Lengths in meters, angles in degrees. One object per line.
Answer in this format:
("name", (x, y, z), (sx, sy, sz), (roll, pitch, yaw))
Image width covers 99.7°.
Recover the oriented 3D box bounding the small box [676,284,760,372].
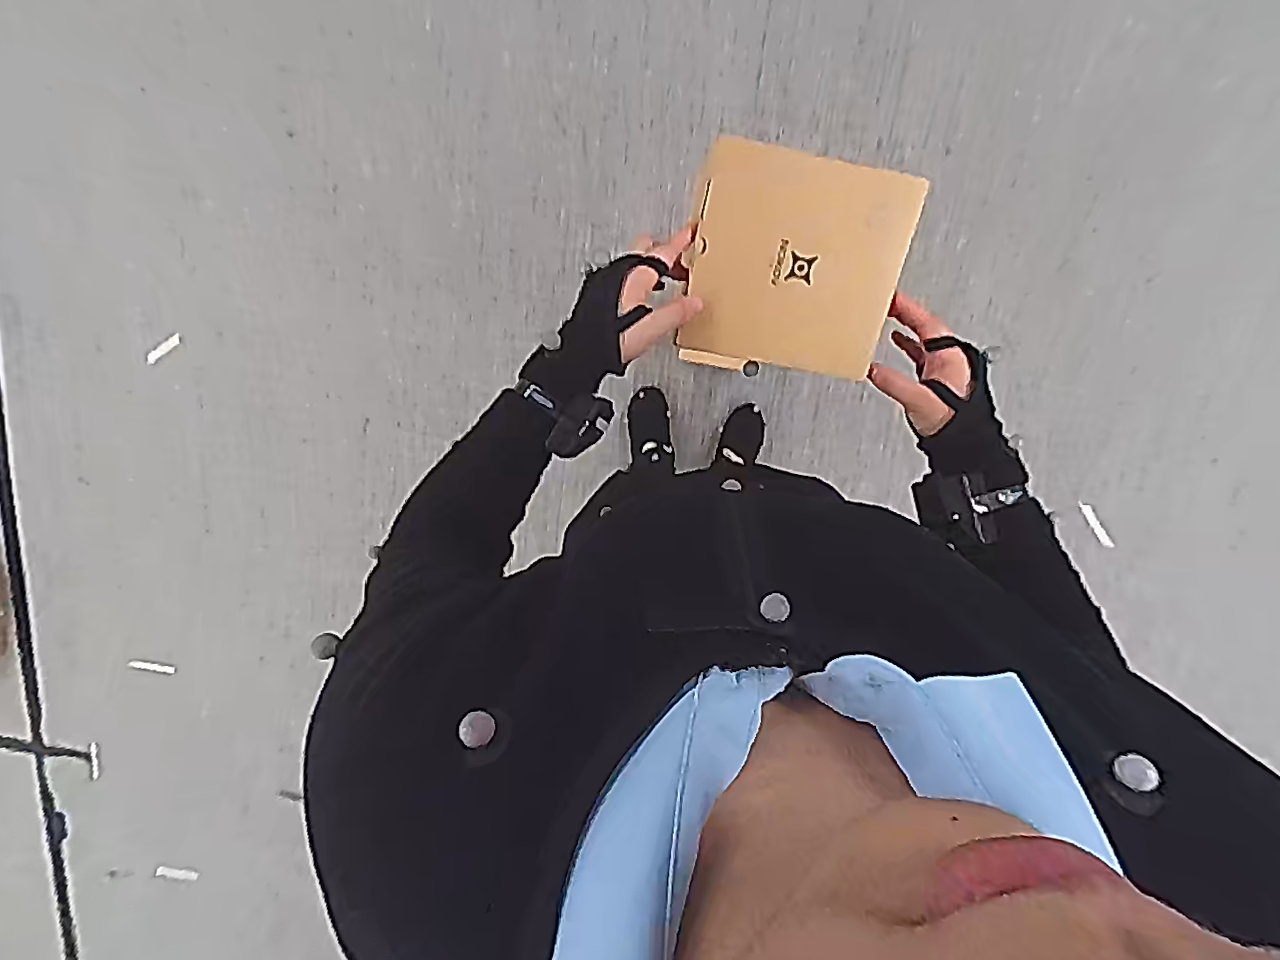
("small box", (0.187, -0.368, 1.332), (0.168, 0.176, 0.179), (11, 102, 1))
